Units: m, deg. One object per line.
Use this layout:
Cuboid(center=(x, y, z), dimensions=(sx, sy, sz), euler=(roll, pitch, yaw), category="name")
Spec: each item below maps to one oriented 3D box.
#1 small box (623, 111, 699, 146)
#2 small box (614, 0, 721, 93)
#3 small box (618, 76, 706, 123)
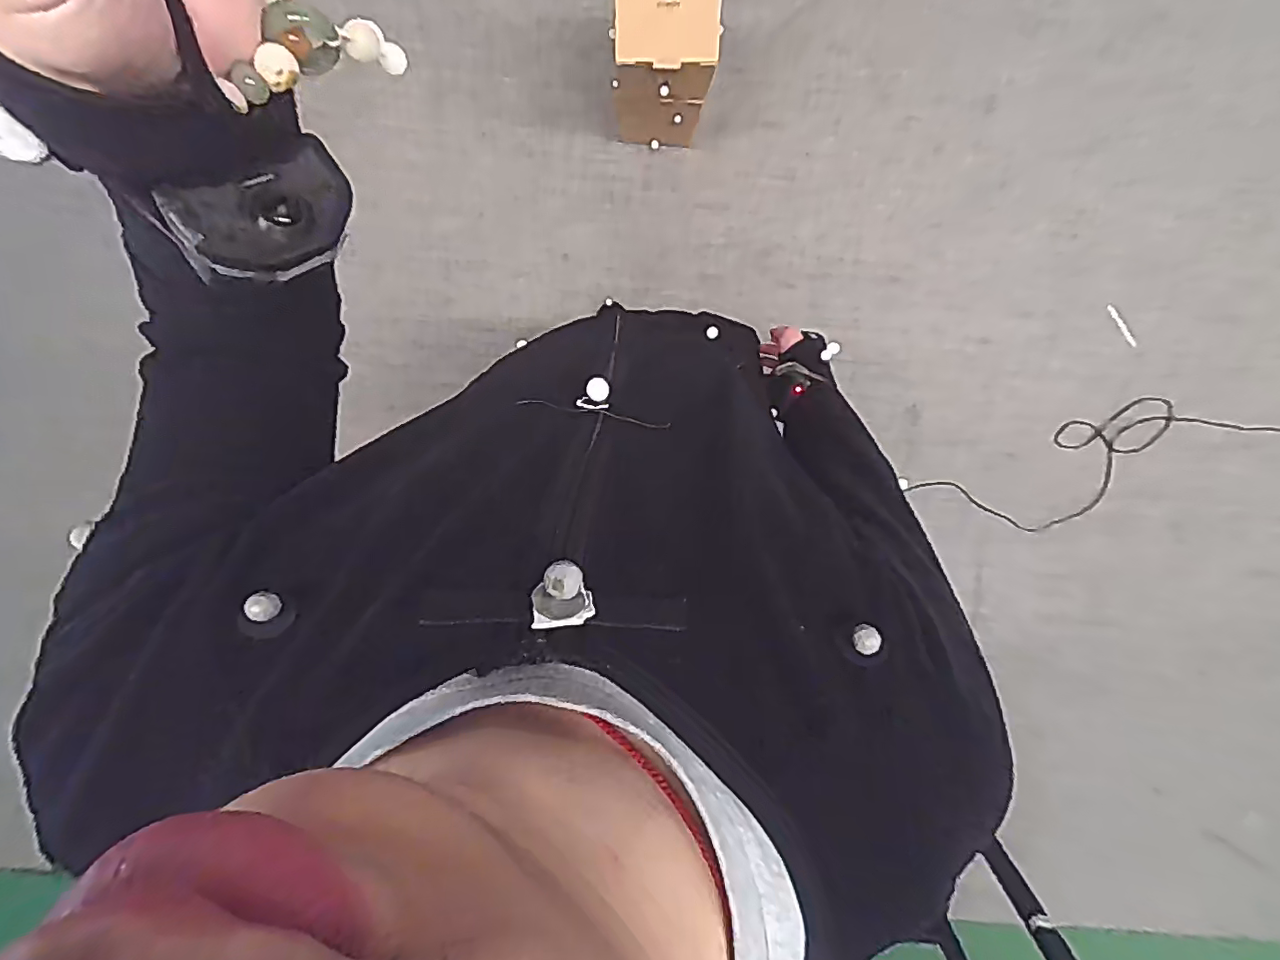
Cuboid(center=(0.051, -0.868, 1.199), dimensions=(0.168, 0.176, 0.179), euler=(3, 109, 1), category="small box")
Cuboid(center=(0.045, -0.762, 0.892), dimensions=(0.168, 0.176, 0.179), euler=(1, 110, 1), category="small box")
Cuboid(center=(0.046, -0.816, 1.046), dimensions=(0.168, 0.176, 0.179), euler=(2, 107, 0), category="small box")
